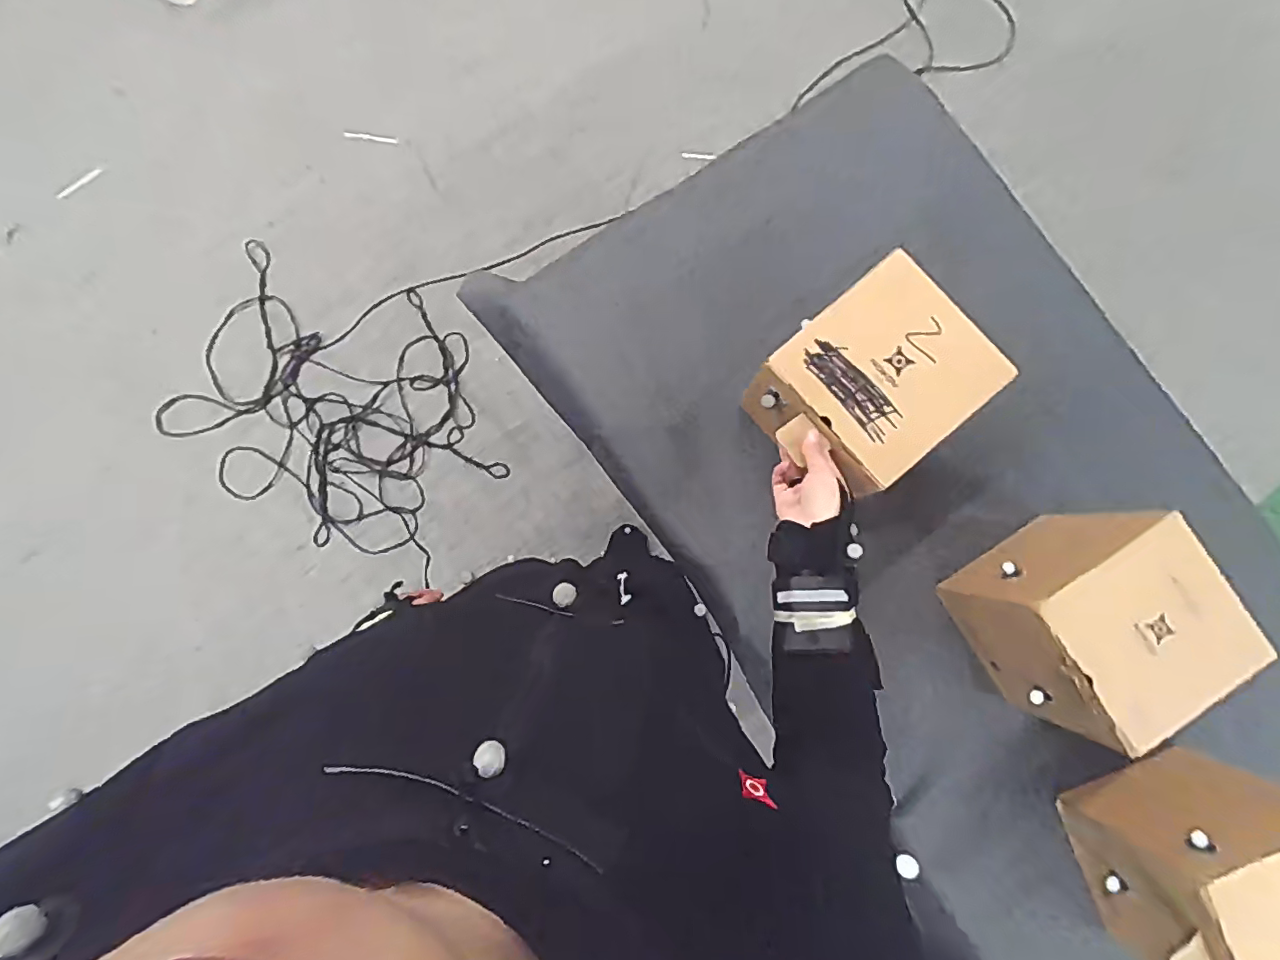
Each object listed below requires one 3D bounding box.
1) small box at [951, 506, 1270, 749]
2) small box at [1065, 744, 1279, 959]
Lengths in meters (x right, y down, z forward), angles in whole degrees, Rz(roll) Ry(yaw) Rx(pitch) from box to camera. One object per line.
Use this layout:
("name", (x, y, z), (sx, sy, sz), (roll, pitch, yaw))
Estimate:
("small box", (0.482, 0.146, 0.590), (0.179, 0.176, 0.168), (-34, 88, -6))
("small box", (0.615, 0.412, 0.570), (0.179, 0.176, 0.168), (-20, 86, -4))
